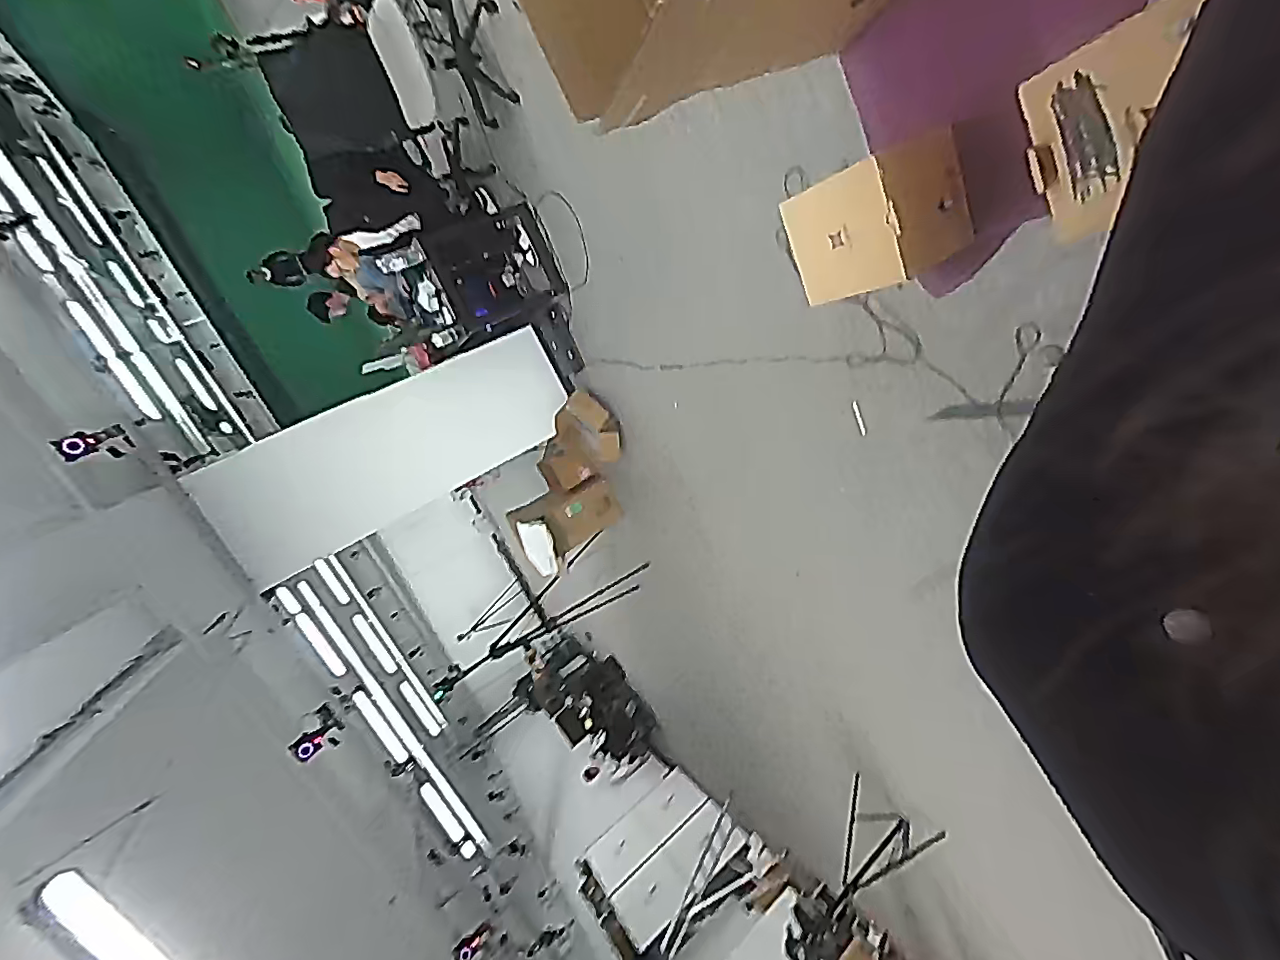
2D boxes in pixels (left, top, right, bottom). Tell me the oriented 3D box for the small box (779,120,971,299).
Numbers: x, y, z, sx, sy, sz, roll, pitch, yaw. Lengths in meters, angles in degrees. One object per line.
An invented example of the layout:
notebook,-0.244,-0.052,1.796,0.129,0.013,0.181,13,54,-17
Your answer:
small box,0.346,-0.392,0.800,0.179,0.176,0.168,8,127,60
